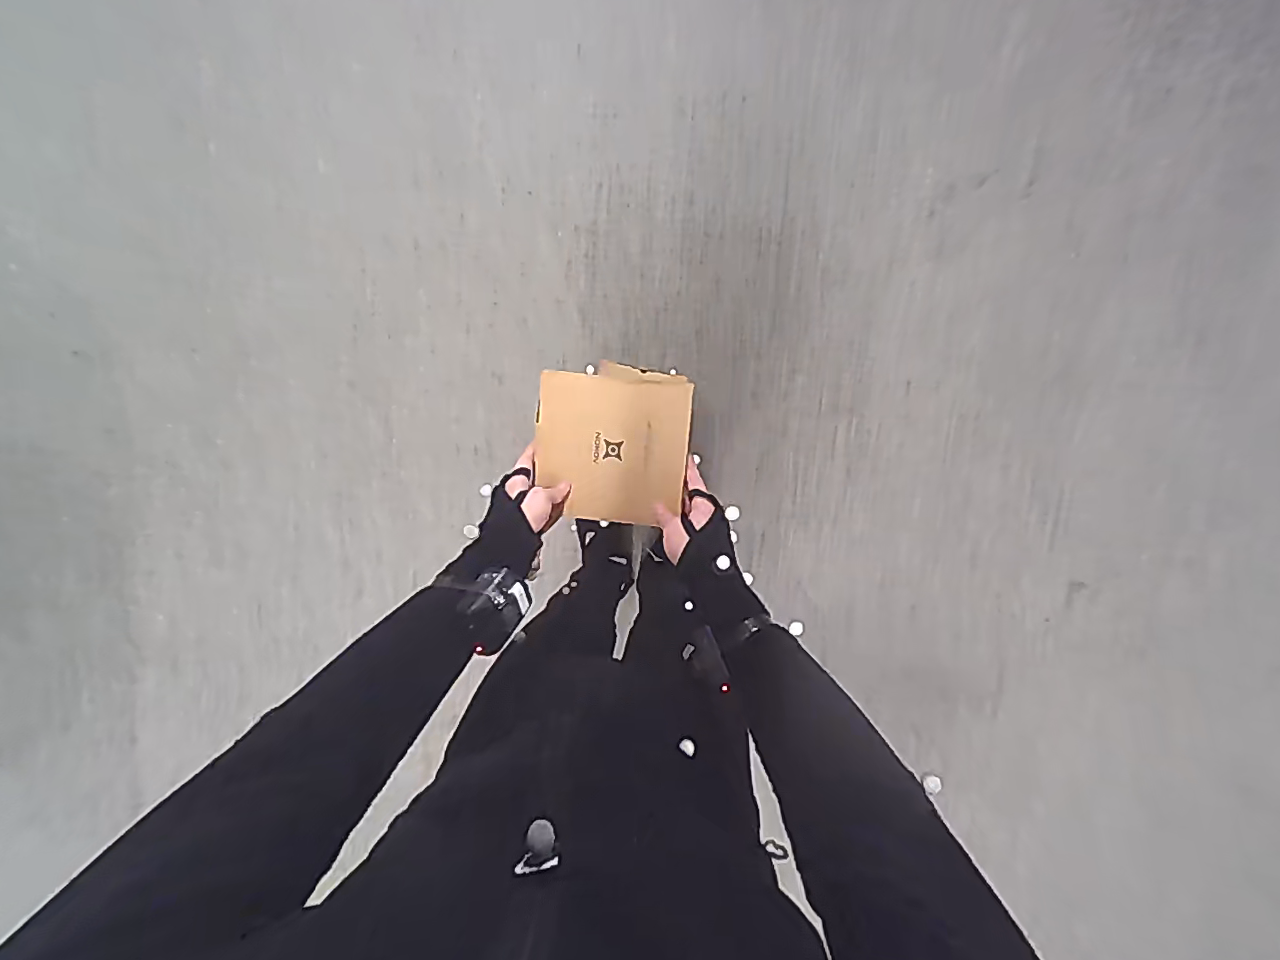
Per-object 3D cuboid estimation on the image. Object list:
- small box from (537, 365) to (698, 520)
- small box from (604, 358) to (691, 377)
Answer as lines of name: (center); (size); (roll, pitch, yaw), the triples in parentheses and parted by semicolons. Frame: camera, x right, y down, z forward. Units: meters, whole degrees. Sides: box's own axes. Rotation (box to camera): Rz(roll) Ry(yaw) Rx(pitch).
small box: (-0.022, -0.050, 0.697); (0.179, 0.176, 0.168); (5, 96, 3)
small box: (0.003, -0.135, 1.079); (0.168, 0.176, 0.179); (12, 100, 2)
